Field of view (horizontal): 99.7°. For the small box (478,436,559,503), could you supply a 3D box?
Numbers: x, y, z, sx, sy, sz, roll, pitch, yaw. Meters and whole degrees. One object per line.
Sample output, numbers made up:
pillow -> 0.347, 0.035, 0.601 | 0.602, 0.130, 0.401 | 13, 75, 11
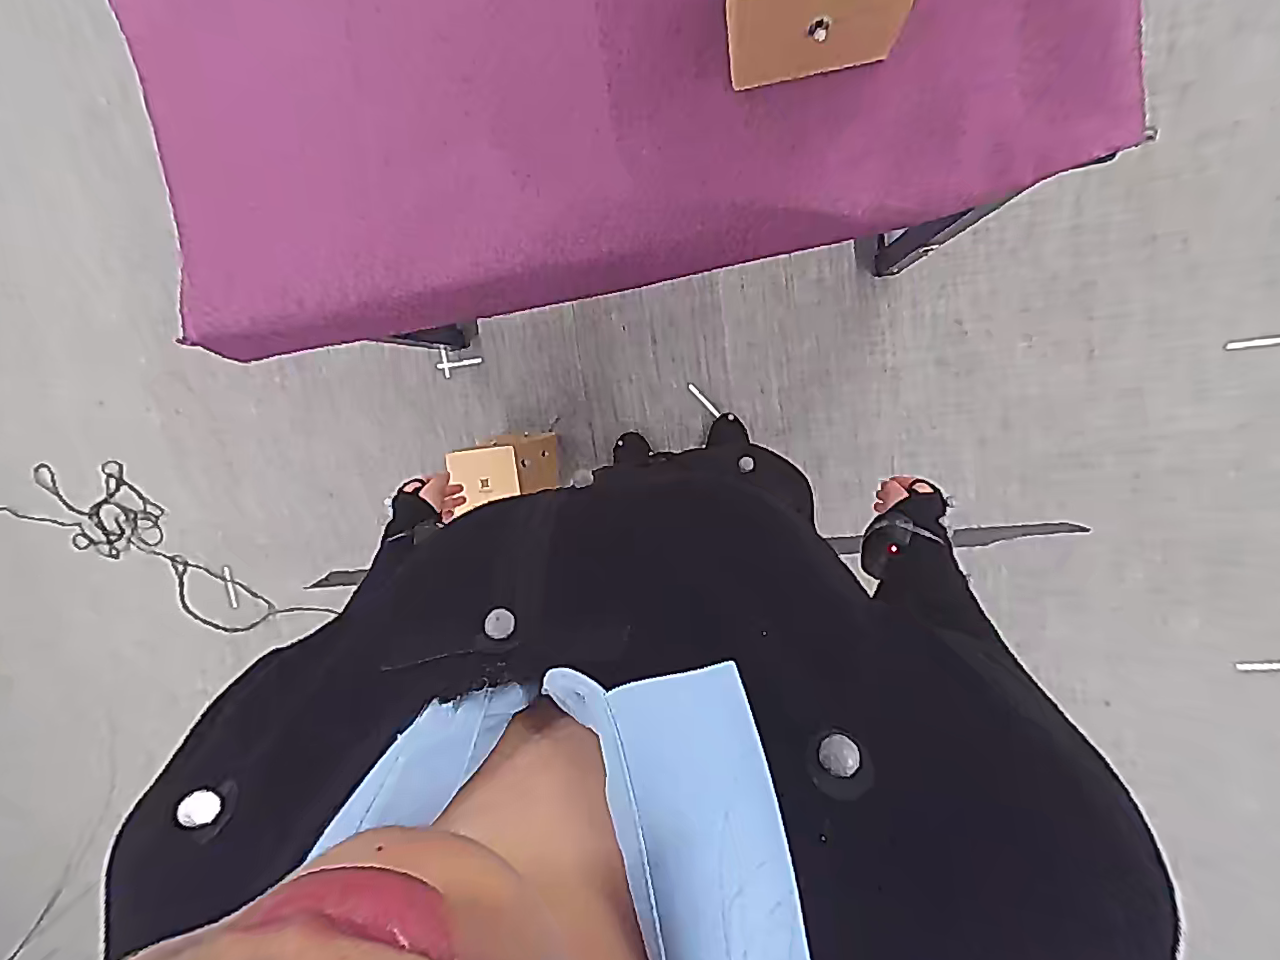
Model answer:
small box -> -0.321, -0.023, 1.457 | 0.168, 0.176, 0.179 | 0, 99, 8

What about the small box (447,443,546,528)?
small box -> -0.336, 0.007, 1.295 | 0.168, 0.176, 0.179 | -6, 99, 9
